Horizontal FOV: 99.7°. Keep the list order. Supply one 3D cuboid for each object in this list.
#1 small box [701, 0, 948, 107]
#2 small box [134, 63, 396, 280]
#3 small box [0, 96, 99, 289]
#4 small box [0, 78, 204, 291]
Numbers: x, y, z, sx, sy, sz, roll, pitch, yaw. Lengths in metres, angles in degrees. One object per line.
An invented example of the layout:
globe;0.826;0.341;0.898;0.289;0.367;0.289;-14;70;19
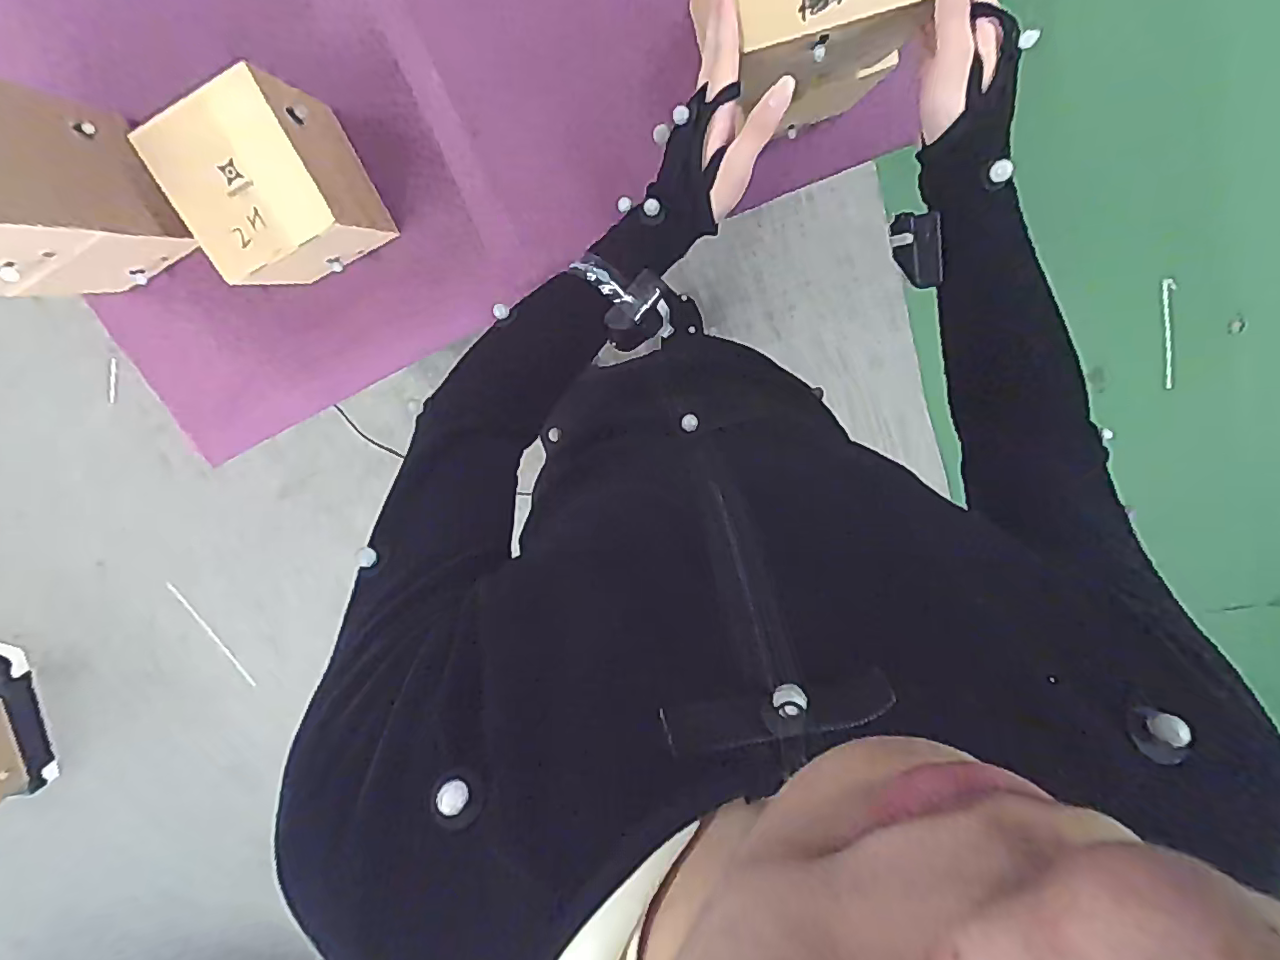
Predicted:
small box;0.136;-0.444;0.443;0.168;0.176;0.179;-11;112;7
small box;-0.453;-0.369;0.687;0.168;0.176;0.179;-22;109;10
small box;-0.736;-0.304;0.544;0.168;0.176;0.179;-24;109;11
small box;-0.733;-0.361;0.697;0.168;0.176;0.179;-23;109;10
